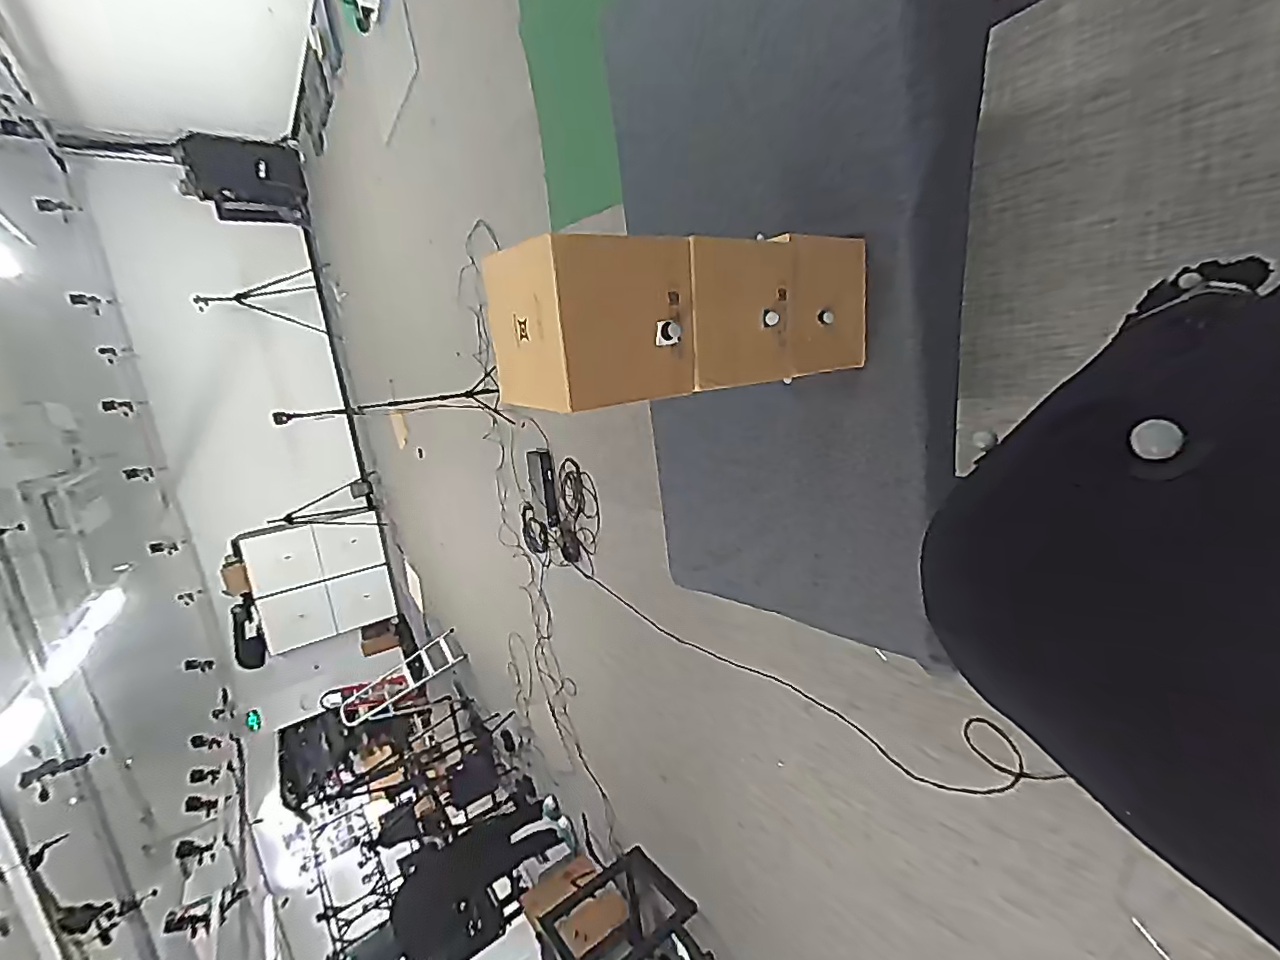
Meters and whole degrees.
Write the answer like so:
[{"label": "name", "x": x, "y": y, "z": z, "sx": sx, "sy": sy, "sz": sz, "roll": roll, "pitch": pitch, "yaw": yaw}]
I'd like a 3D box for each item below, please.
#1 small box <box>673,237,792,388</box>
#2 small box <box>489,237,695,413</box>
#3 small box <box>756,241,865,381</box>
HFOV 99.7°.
[{"label": "small box", "x": 0.078, "y": -0.212, "z": 0.714, "sx": 0.179, "sy": 0.176, "sz": 0.168, "roll": 14, "pitch": 113, "yaw": 55}, {"label": "small box", "x": -0.054, "y": -0.177, "z": 0.628, "sx": 0.179, "sy": 0.176, "sz": 0.168, "roll": 16, "pitch": 116, "yaw": 52}, {"label": "small box", "x": 0.214, "y": -0.245, "z": 0.800, "sx": 0.168, "sy": 0.176, "sz": 0.179, "roll": 13, "pitch": 113, "yaw": 54}]
